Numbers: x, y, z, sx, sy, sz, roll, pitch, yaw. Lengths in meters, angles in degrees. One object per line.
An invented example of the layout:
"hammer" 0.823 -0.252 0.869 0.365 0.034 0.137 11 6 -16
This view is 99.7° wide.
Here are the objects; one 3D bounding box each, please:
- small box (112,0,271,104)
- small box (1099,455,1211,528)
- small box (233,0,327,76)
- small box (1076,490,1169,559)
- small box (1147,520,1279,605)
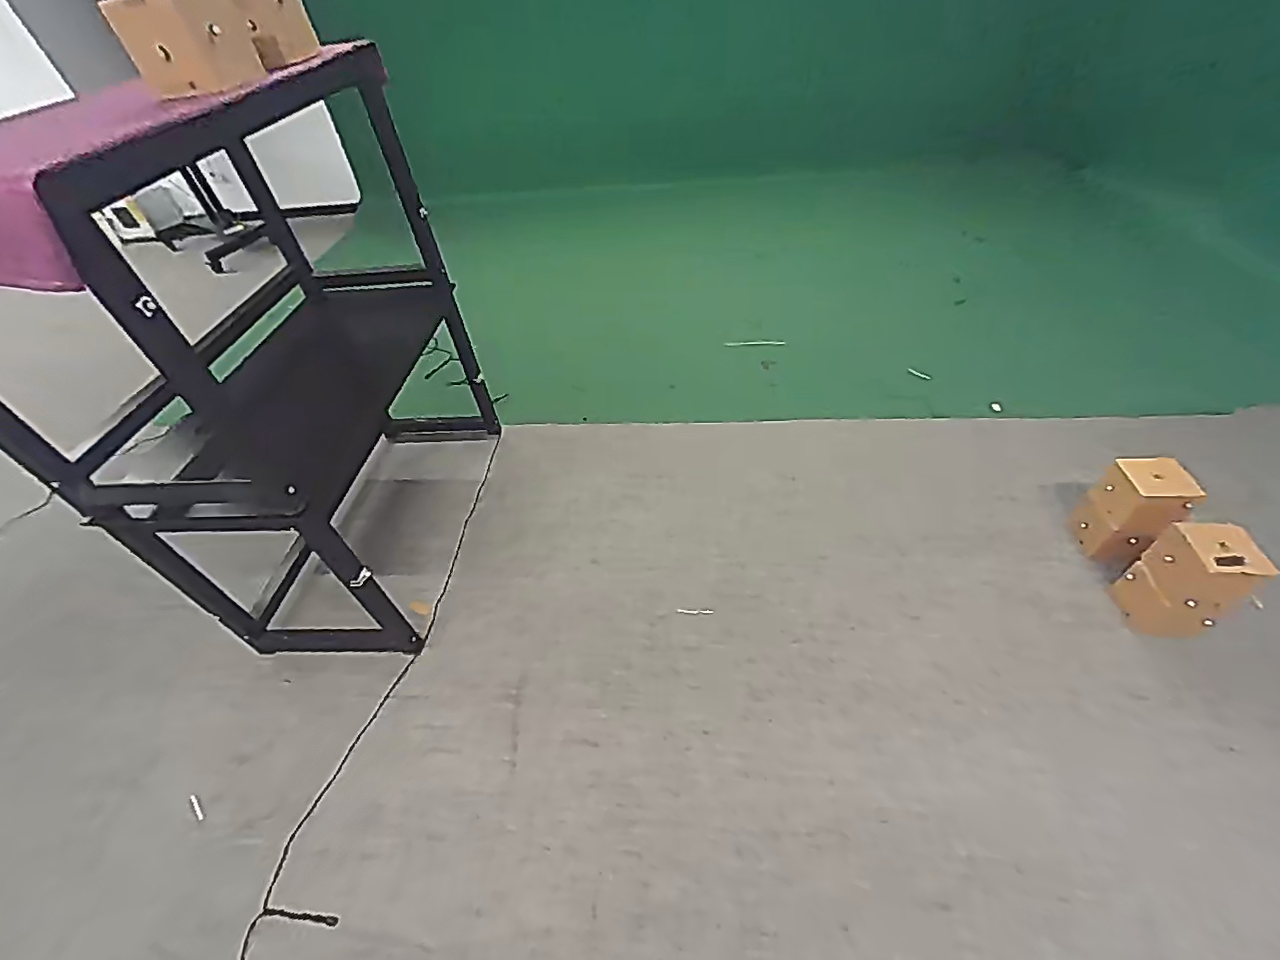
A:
"small box" -0.967 -0.946 1.188 0.168 0.176 0.179 0 47 8
"small box" 1.603 0.040 1.704 0.179 0.176 0.168 0 46 6
"small box" -0.960 -1.168 1.404 0.168 0.176 0.179 1 47 10
"small box" 1.618 0.150 1.820 0.179 0.176 0.168 1 47 9
"small box" 1.594 0.233 1.514 0.168 0.176 0.179 3 46 9
